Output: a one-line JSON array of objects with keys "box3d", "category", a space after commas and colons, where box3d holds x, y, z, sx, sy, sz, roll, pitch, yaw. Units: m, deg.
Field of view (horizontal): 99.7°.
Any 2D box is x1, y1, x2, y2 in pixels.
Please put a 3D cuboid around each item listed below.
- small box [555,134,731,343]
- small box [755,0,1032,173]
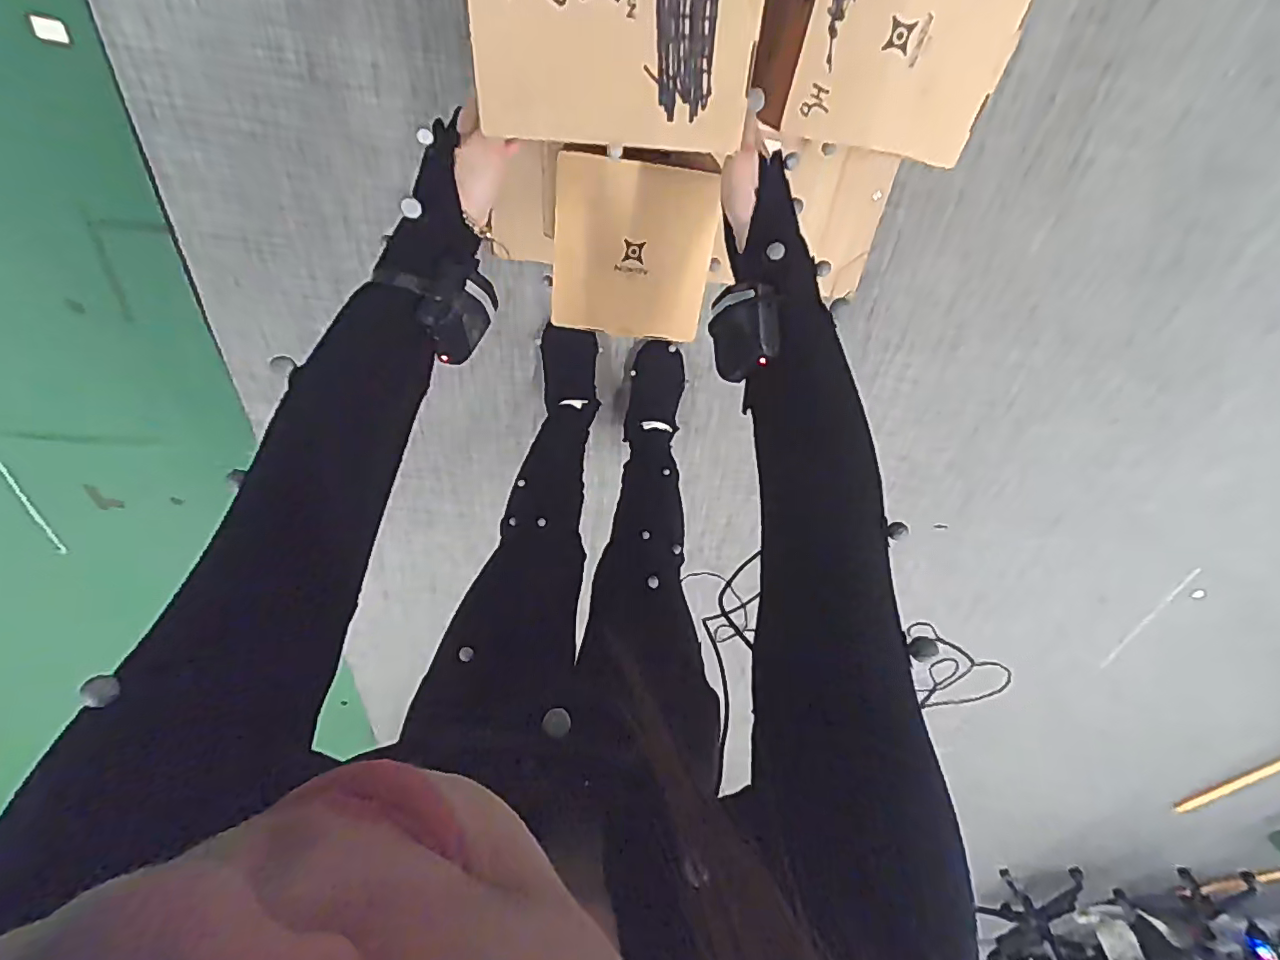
[{"box3d": [-0.005, -0.282, 0.623, 0.168, 0.176, 0.179, 5, 128, -5], "category": "small box"}, {"box3d": [0.226, -0.417, 0.519, 0.179, 0.176, 0.168, 9, 127, -5], "category": "small box"}]
